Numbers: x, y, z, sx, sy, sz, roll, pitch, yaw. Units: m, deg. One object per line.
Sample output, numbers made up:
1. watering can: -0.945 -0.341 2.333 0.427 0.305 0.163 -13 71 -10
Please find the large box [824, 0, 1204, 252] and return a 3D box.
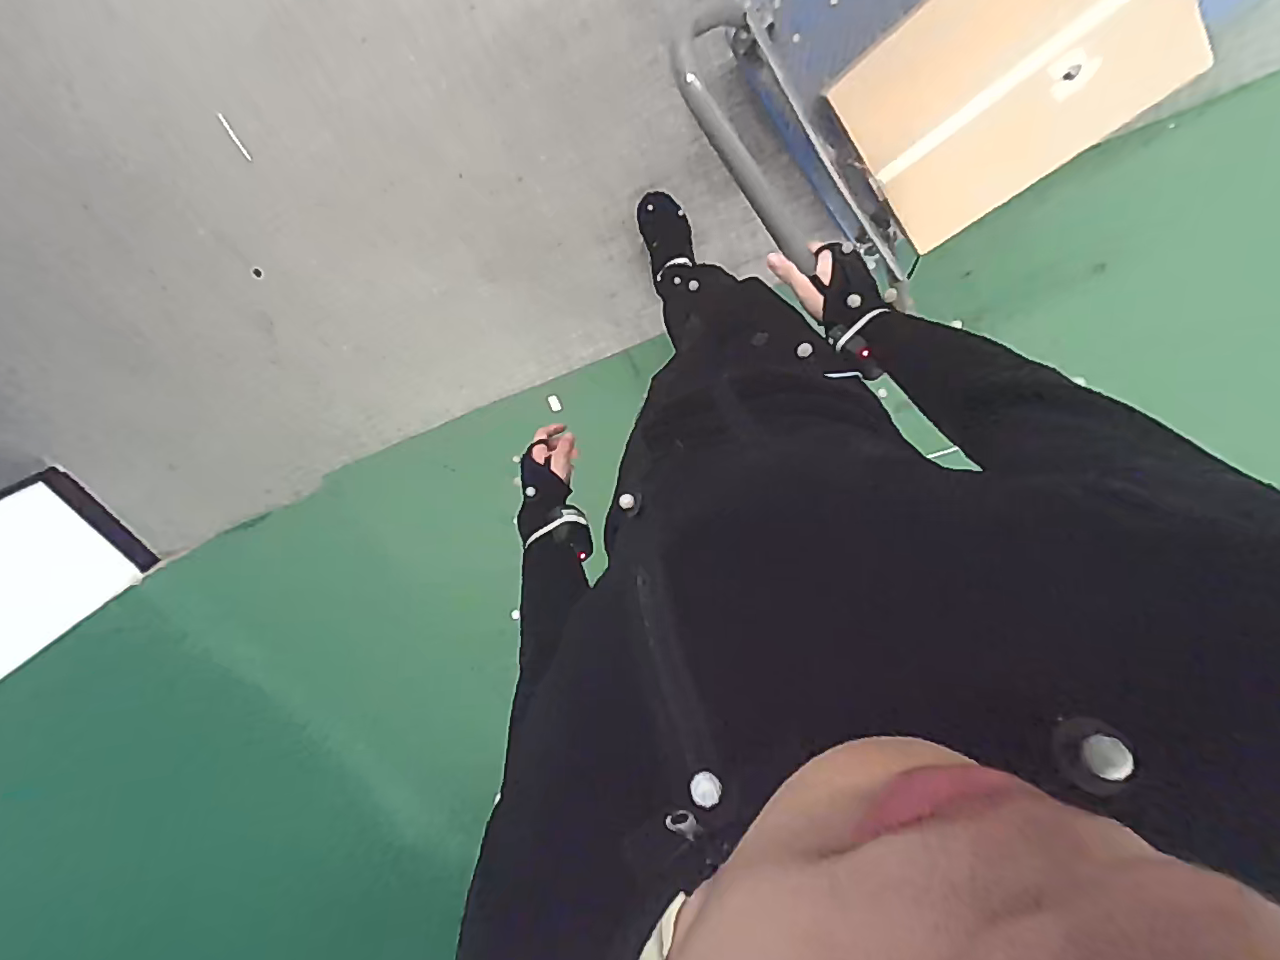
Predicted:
1. large box: 0.578 -0.674 0.925 0.408 0.320 0.320 -30 113 31
